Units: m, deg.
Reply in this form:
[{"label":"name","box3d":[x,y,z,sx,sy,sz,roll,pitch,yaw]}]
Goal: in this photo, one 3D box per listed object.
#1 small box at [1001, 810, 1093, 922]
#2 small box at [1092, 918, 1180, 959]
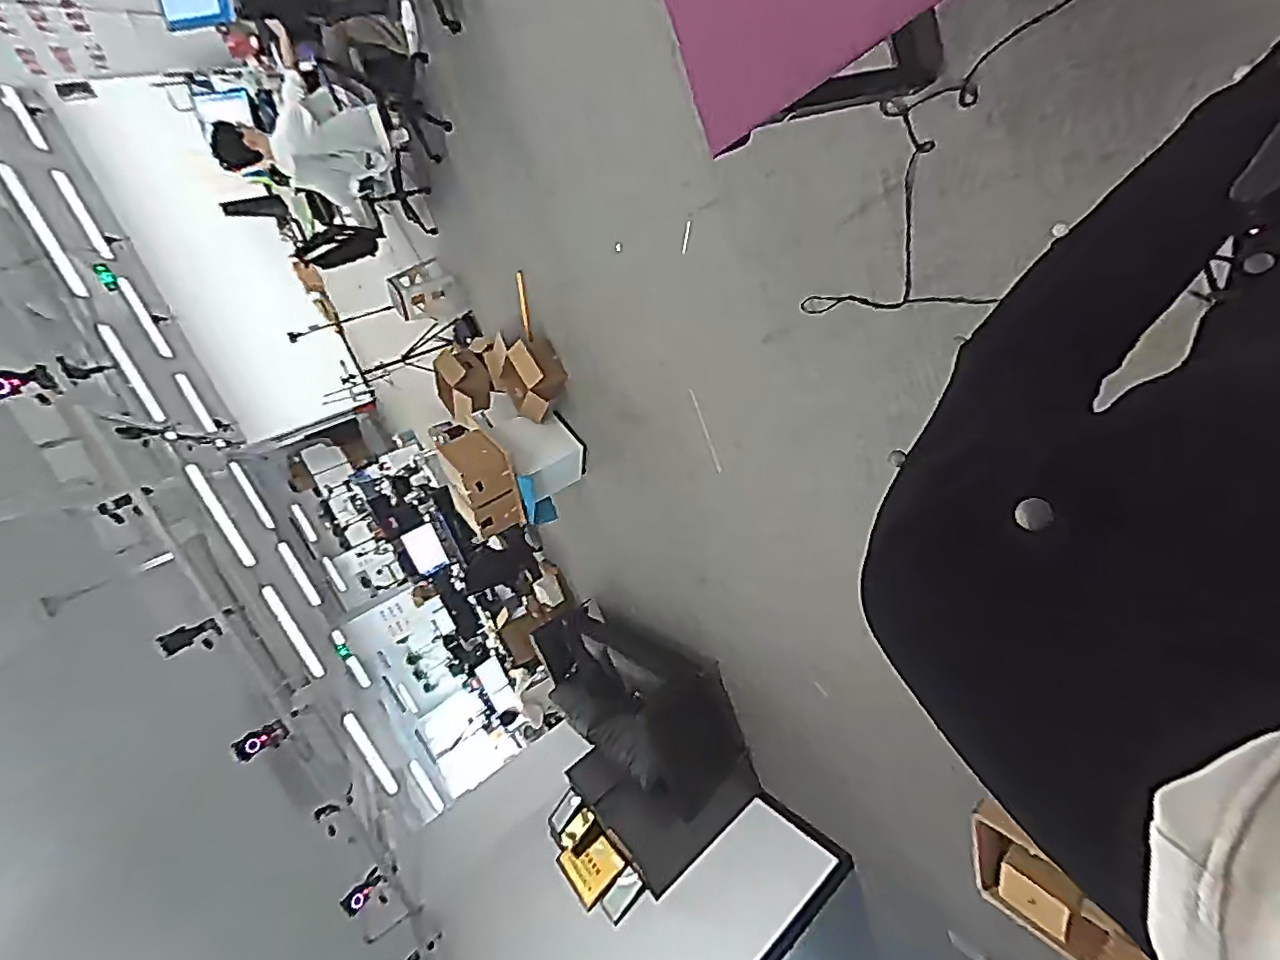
[{"label":"small box","box3d":[1.198,1.125,1.591,0.168,0.176,0.179,23,135,52]},{"label":"small box","box3d":[1.209,1.223,1.299,0.179,0.176,0.168,20,132,55]}]
